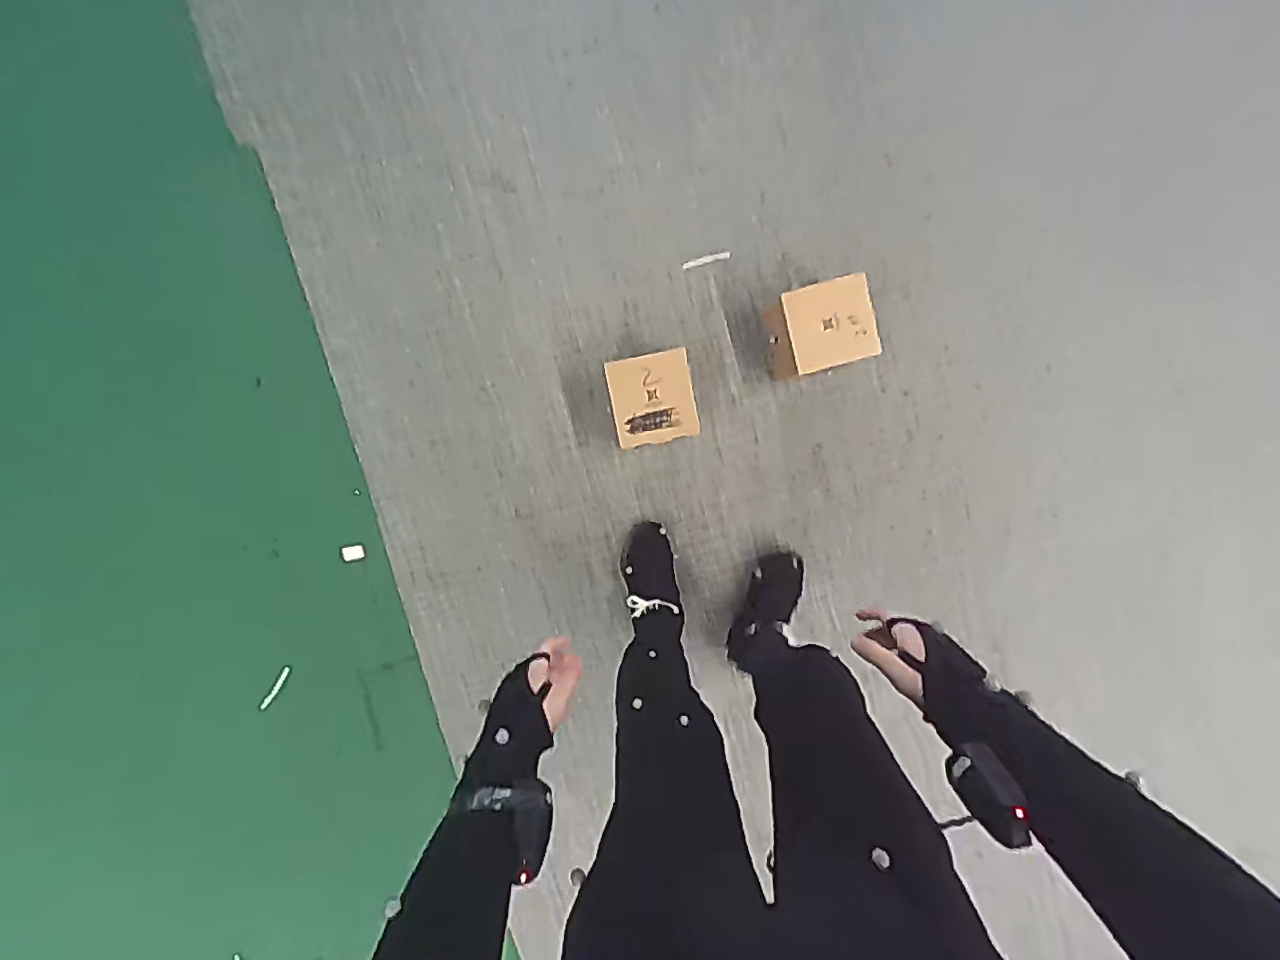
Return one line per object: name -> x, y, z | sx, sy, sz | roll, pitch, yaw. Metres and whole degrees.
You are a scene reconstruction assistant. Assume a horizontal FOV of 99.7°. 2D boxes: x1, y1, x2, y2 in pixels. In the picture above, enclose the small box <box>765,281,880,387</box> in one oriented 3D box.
small box -> 0.378, -0.303, 1.159 | 0.179, 0.176, 0.168 | -15, 95, 0
